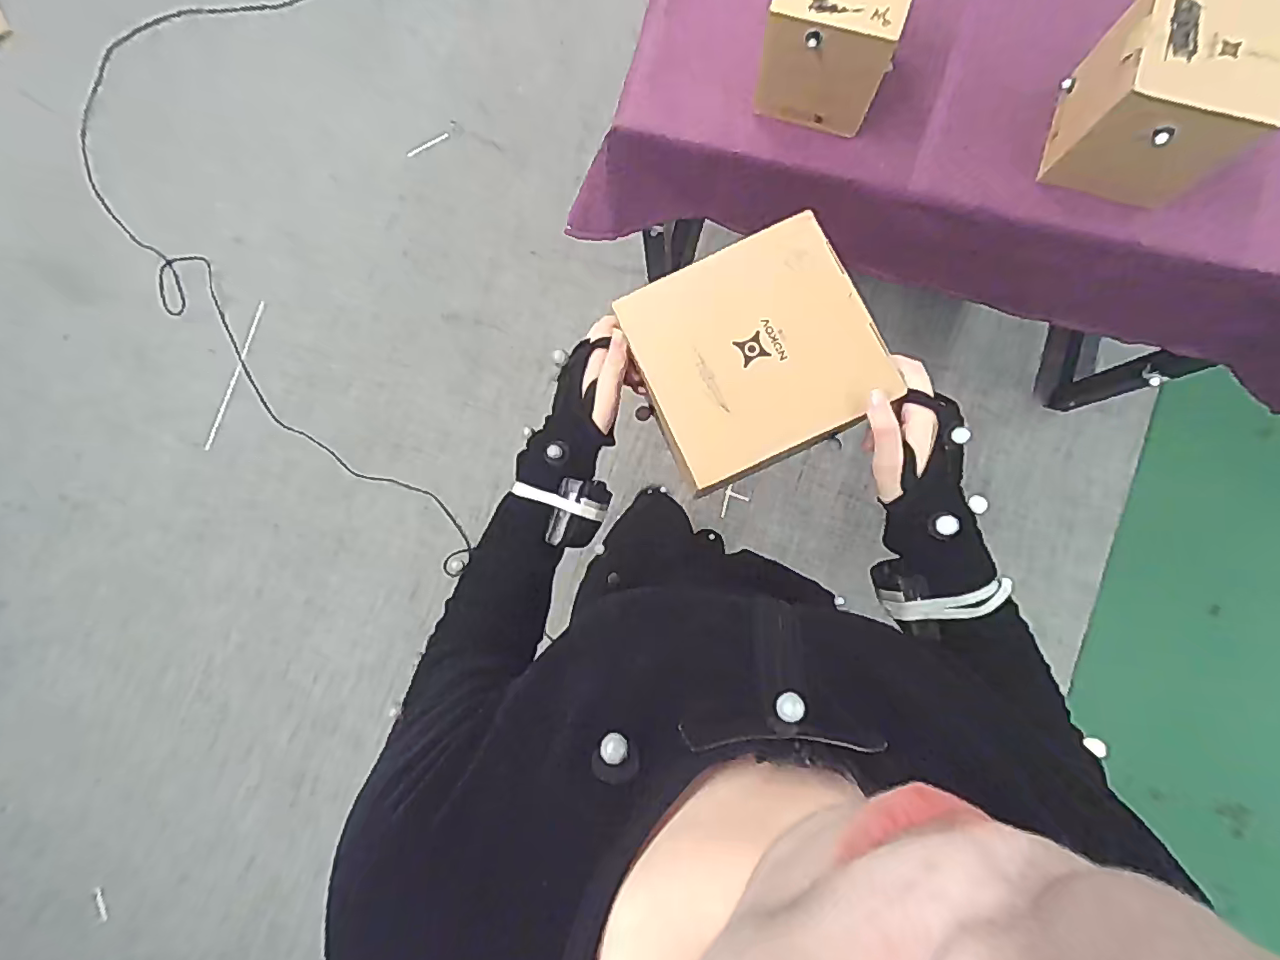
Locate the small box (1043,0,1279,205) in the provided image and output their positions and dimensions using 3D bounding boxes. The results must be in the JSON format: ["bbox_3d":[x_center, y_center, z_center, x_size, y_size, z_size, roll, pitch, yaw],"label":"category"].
[{"bbox_3d":[0.682,-0.496,0.708,0.179,0.176,0.168,18,87,5],"label":"small box"}]

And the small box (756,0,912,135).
[{"bbox_3d":[0.269,-0.631,0.748,0.168,0.176,0.179,19,86,6],"label":"small box"}]
